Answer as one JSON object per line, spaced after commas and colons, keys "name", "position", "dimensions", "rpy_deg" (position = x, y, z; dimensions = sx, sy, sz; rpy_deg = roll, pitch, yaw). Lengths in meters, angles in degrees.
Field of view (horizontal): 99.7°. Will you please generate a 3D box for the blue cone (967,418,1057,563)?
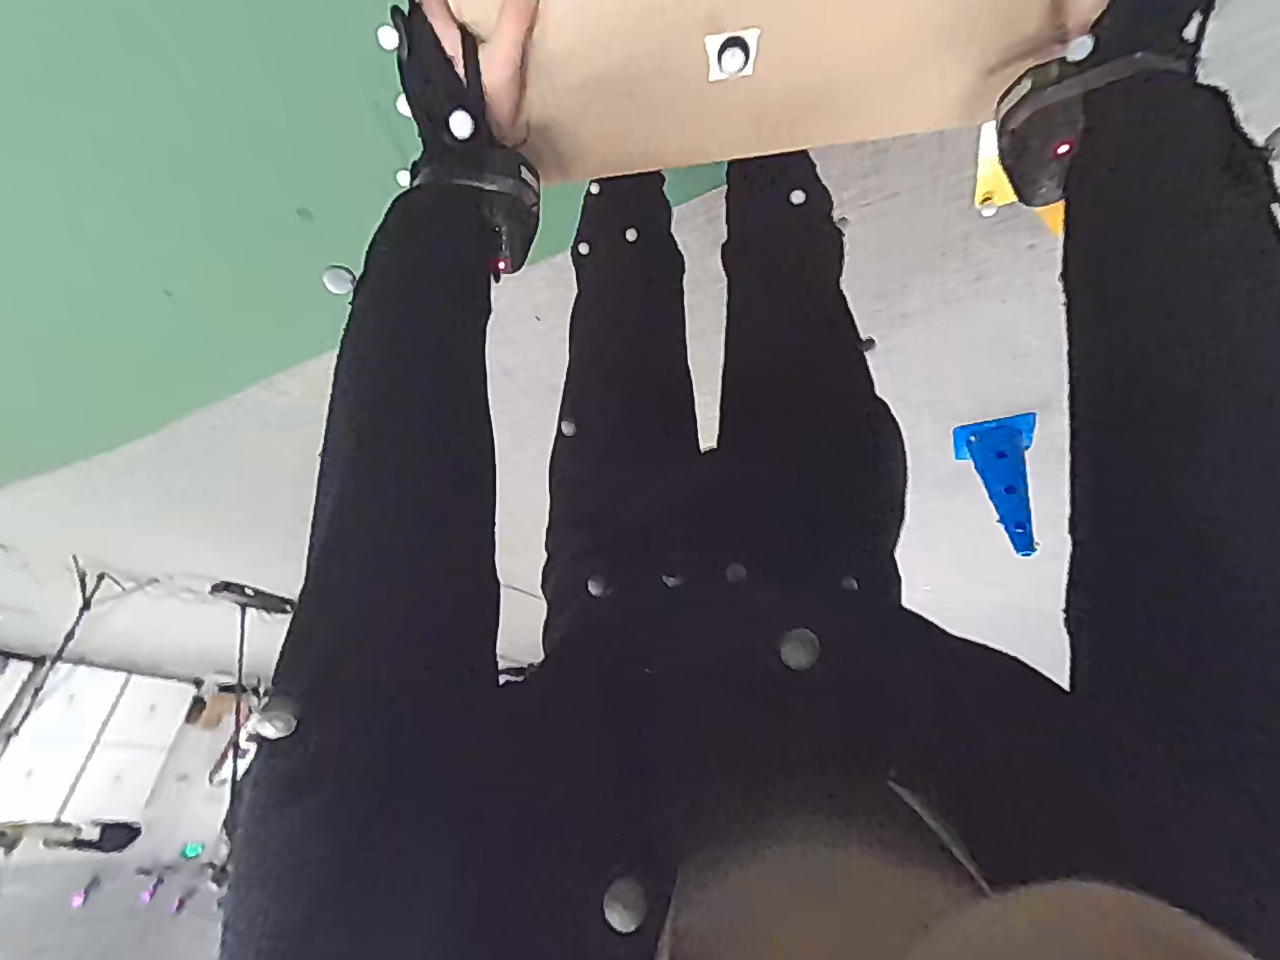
{"name": "blue cone", "position": [1.012, 0.038, 1.427], "dimensions": [0.192, 0.380, 0.193], "rpy_deg": [-11, 147, 25]}
